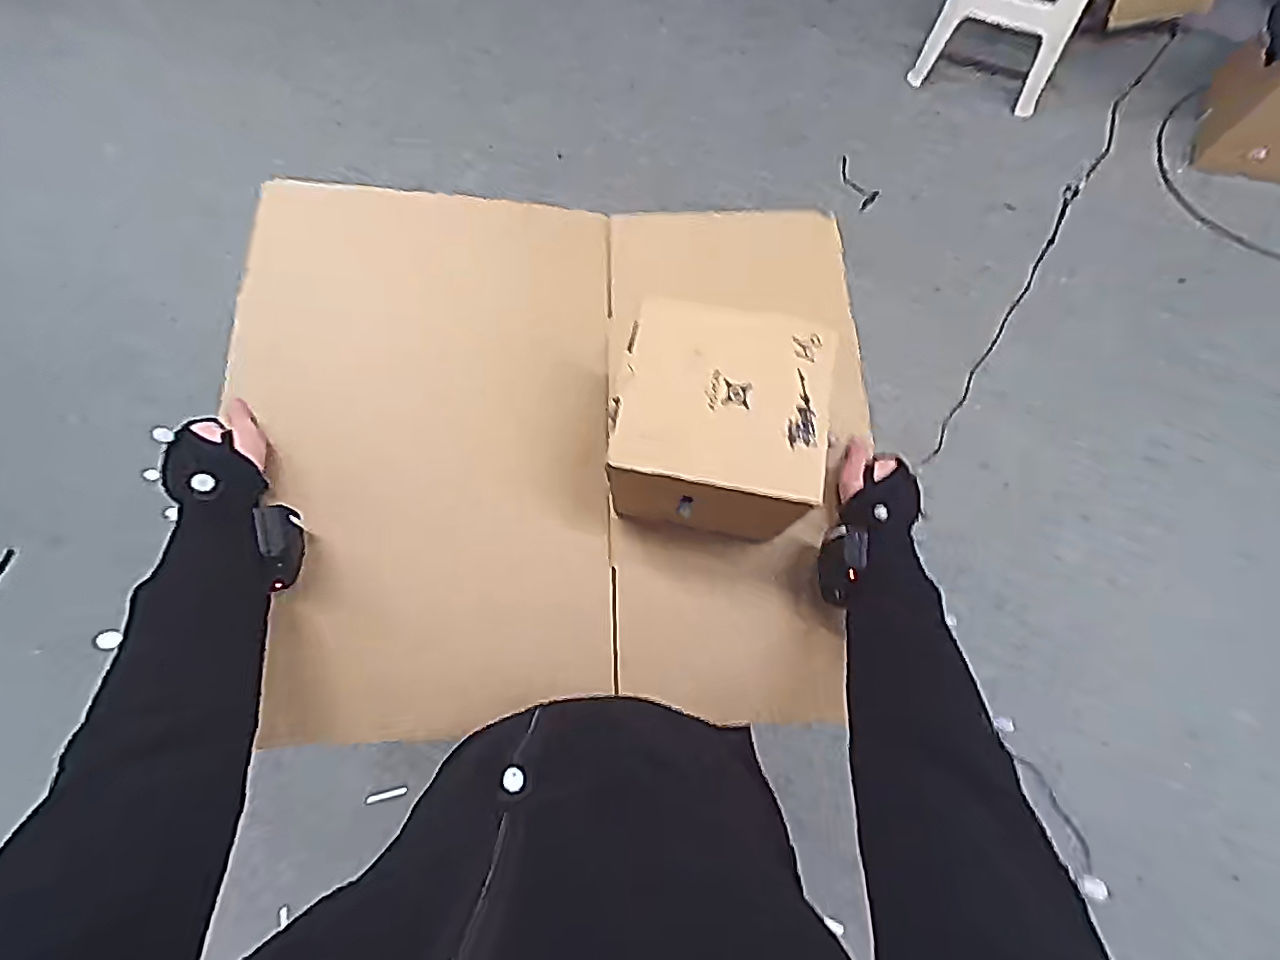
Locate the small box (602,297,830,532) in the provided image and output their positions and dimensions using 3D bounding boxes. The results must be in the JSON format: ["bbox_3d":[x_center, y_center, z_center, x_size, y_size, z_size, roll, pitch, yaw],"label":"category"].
[{"bbox_3d":[0.070,-0.053,0.537,0.179,0.176,0.168,9,74,4],"label":"small box"}]
